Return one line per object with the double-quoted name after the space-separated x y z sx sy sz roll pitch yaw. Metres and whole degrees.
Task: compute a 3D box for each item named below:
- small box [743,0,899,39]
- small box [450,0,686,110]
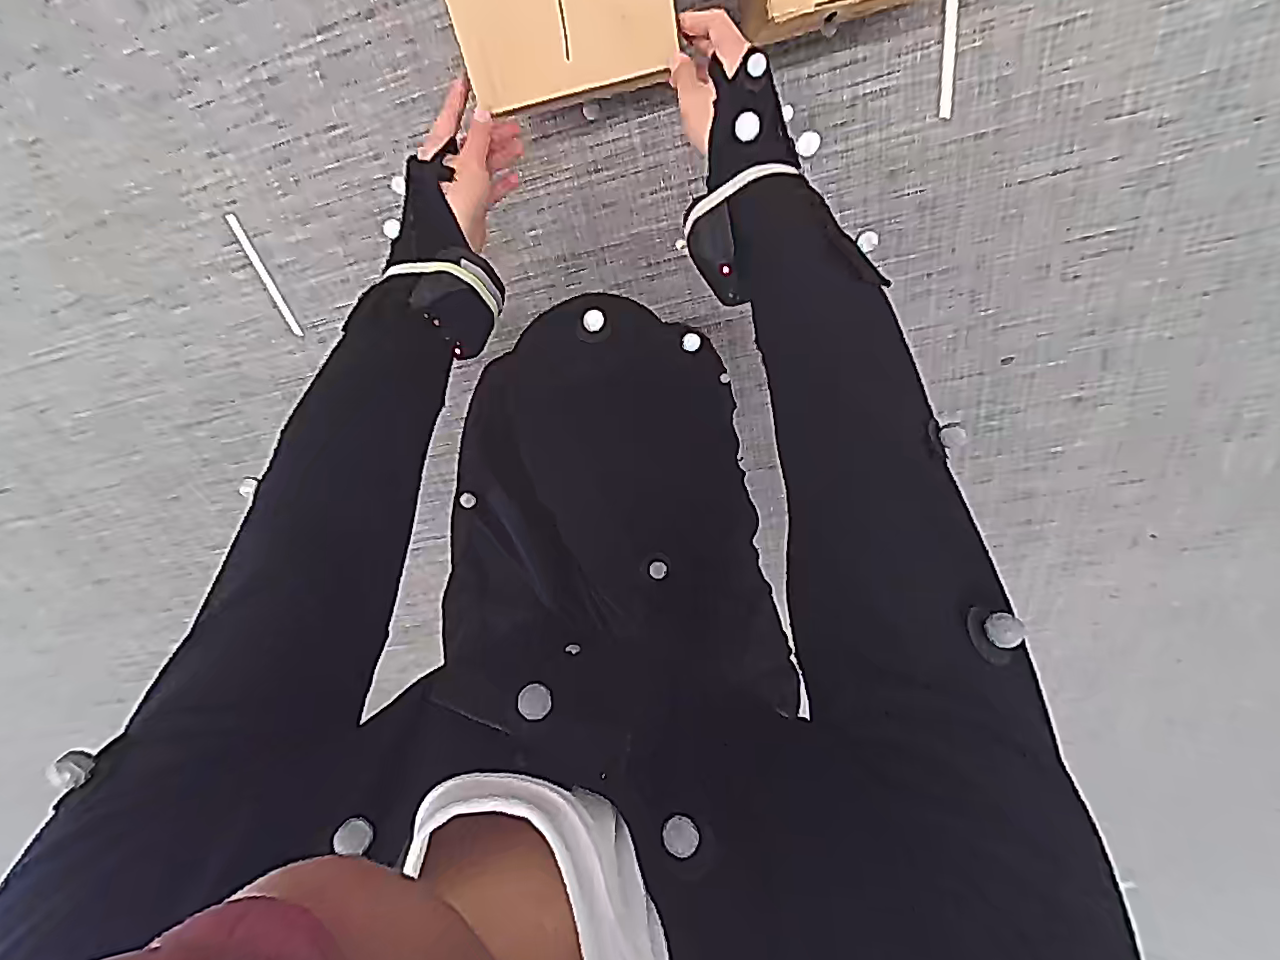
0.160 -0.464 0.399 0.168 0.176 0.179 -10 123 9 "small box"
-0.059 -0.418 0.436 0.168 0.176 0.179 -8 124 8 "small box"
